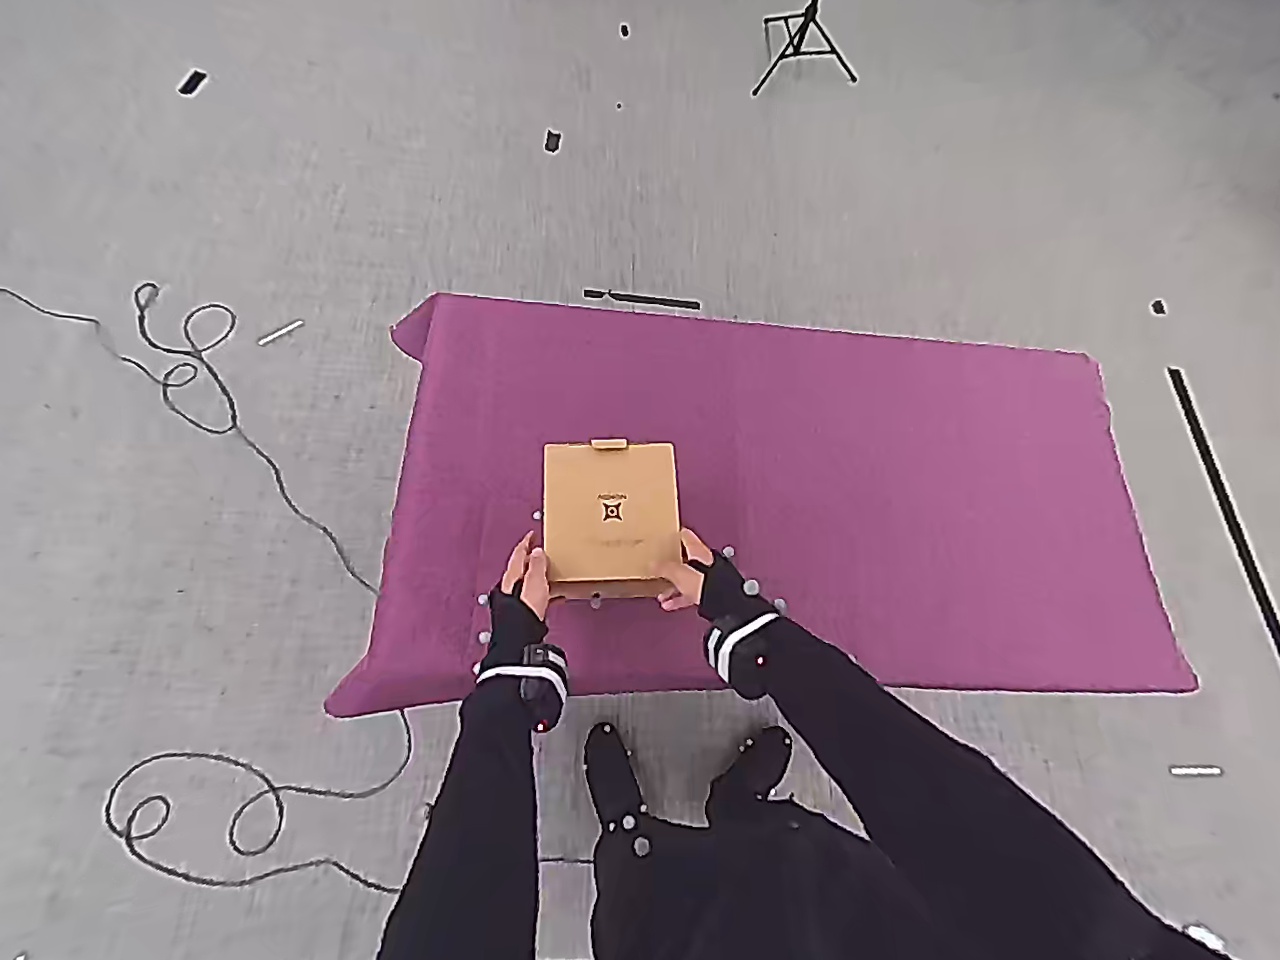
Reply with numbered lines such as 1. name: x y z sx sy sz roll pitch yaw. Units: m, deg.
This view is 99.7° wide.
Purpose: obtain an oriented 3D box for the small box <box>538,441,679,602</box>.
1. small box: -0.047 0.061 0.722 0.168 0.176 0.179 -1 70 -7
